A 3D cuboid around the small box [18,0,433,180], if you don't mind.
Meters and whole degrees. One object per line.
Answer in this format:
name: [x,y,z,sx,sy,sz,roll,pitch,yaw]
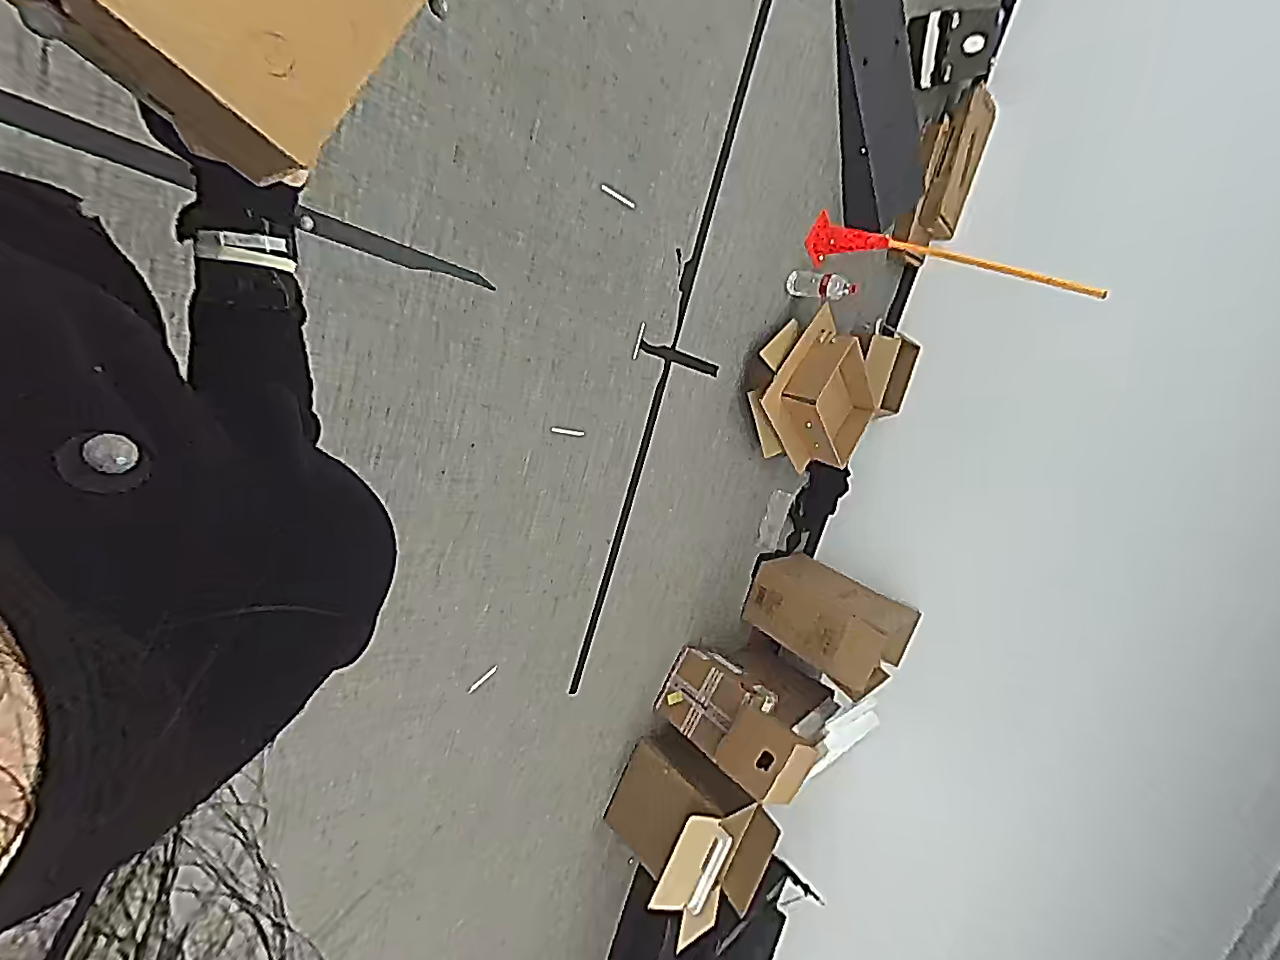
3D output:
small box: [-0.226,-0.292,0.289,0.168,0.176,0.179,36,82,-46]
